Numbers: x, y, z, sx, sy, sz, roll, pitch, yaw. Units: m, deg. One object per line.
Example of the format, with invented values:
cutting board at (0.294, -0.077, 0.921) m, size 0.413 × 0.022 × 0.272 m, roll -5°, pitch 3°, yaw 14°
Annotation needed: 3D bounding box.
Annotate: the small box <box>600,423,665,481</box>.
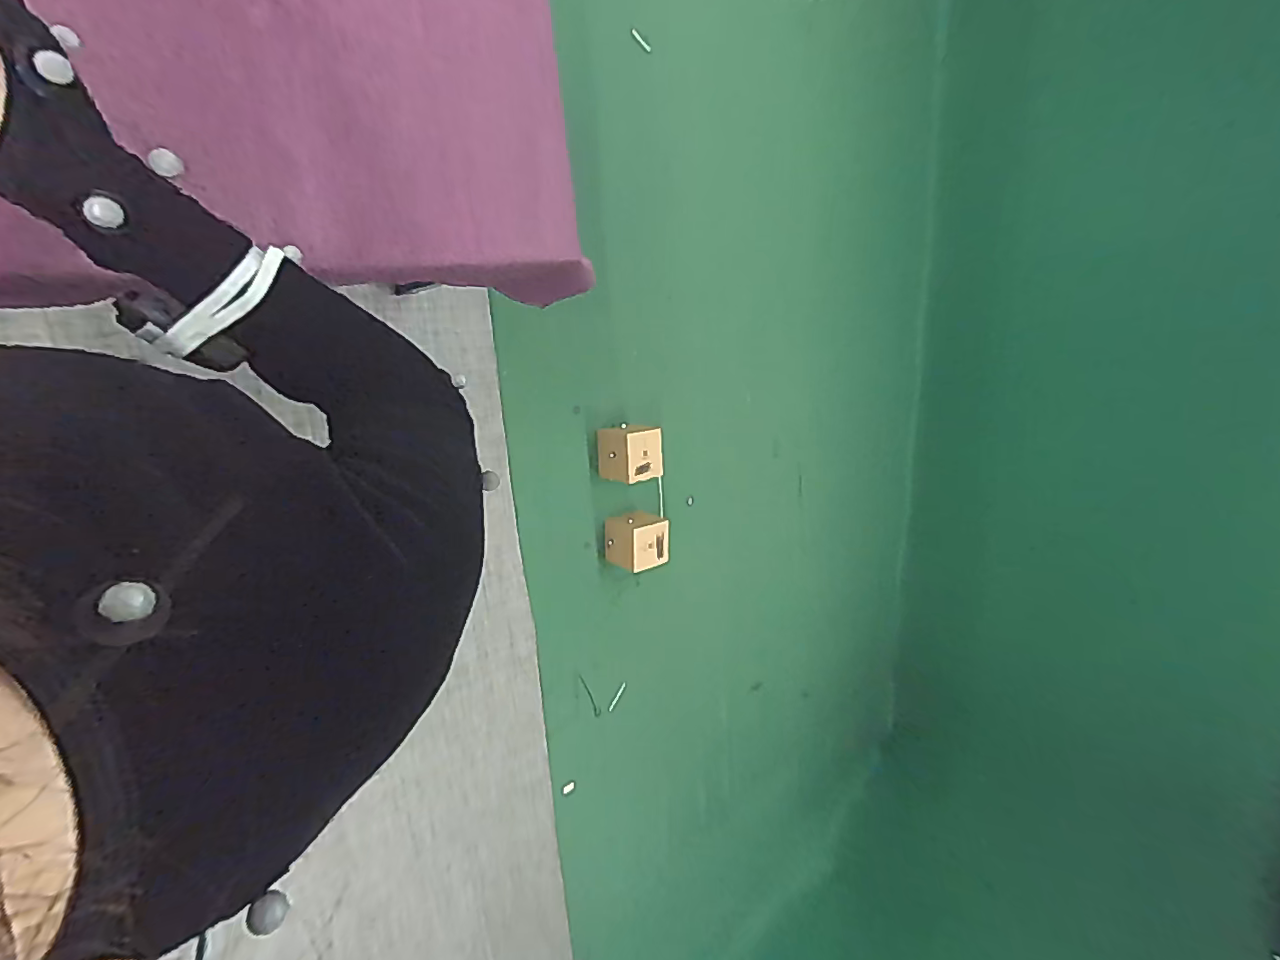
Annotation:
small box at (-0.028, -0.105, 1.939) m, size 0.168 × 0.176 × 0.179 m, roll -14°, pitch 107°, yaw -40°
